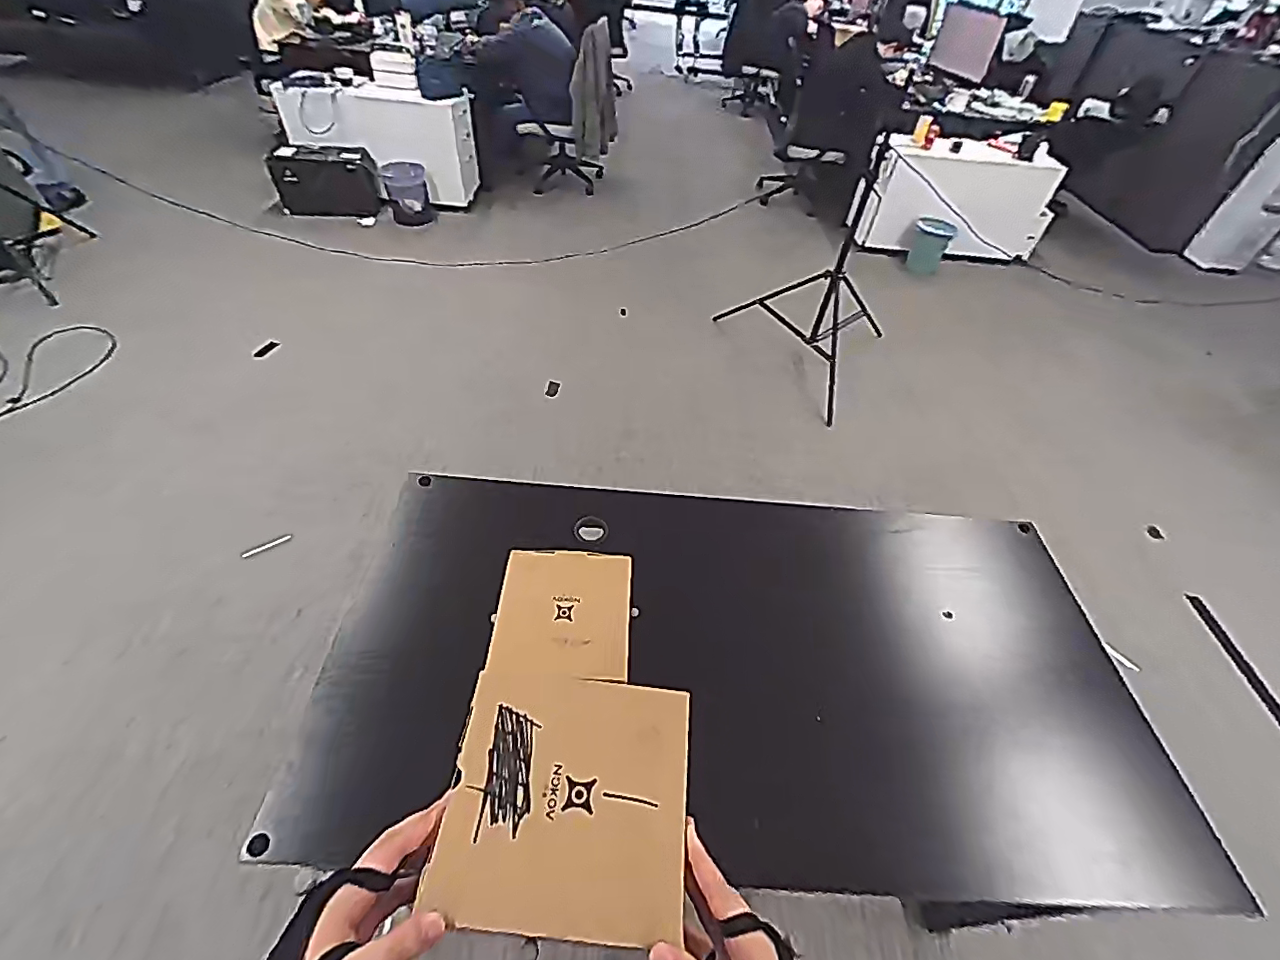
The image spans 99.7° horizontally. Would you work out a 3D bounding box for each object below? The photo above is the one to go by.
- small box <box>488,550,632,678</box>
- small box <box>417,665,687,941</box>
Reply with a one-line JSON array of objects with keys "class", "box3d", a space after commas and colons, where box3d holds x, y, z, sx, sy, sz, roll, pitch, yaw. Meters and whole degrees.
[{"class": "small box", "box3d": [-0.099, 0.217, 0.737, 0.168, 0.176, 0.179, 2, 48, -2]}, {"class": "small box", "box3d": [-0.058, 0.276, 0.460, 0.179, 0.176, 0.168, 6, 49, 0]}]
